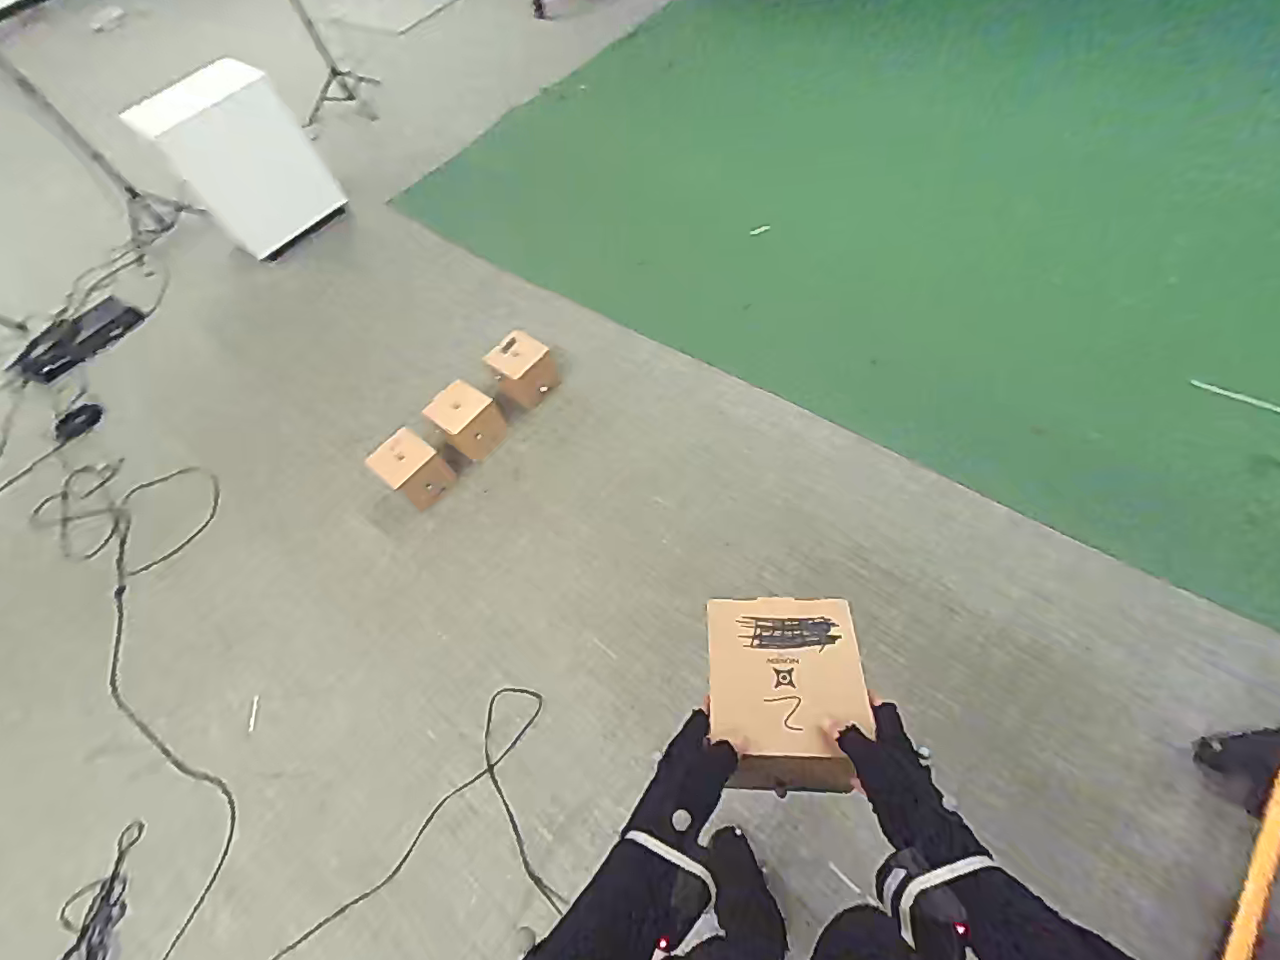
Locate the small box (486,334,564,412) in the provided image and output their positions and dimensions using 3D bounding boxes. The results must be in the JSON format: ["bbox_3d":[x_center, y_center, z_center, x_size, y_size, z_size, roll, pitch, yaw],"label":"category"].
[{"bbox_3d":[-0.393,-0.366,1.876,0.179,0.176,0.168,32,69,24],"label":"small box"}]

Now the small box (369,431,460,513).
[{"bbox_3d":[-0.709,-0.018,1.718,0.179,0.176,0.168,33,69,25],"label":"small box"}]

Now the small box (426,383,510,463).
[{"bbox_3d":[-0.563,-0.182,1.795,0.179,0.176,0.168,31,68,25],"label":"small box"}]
